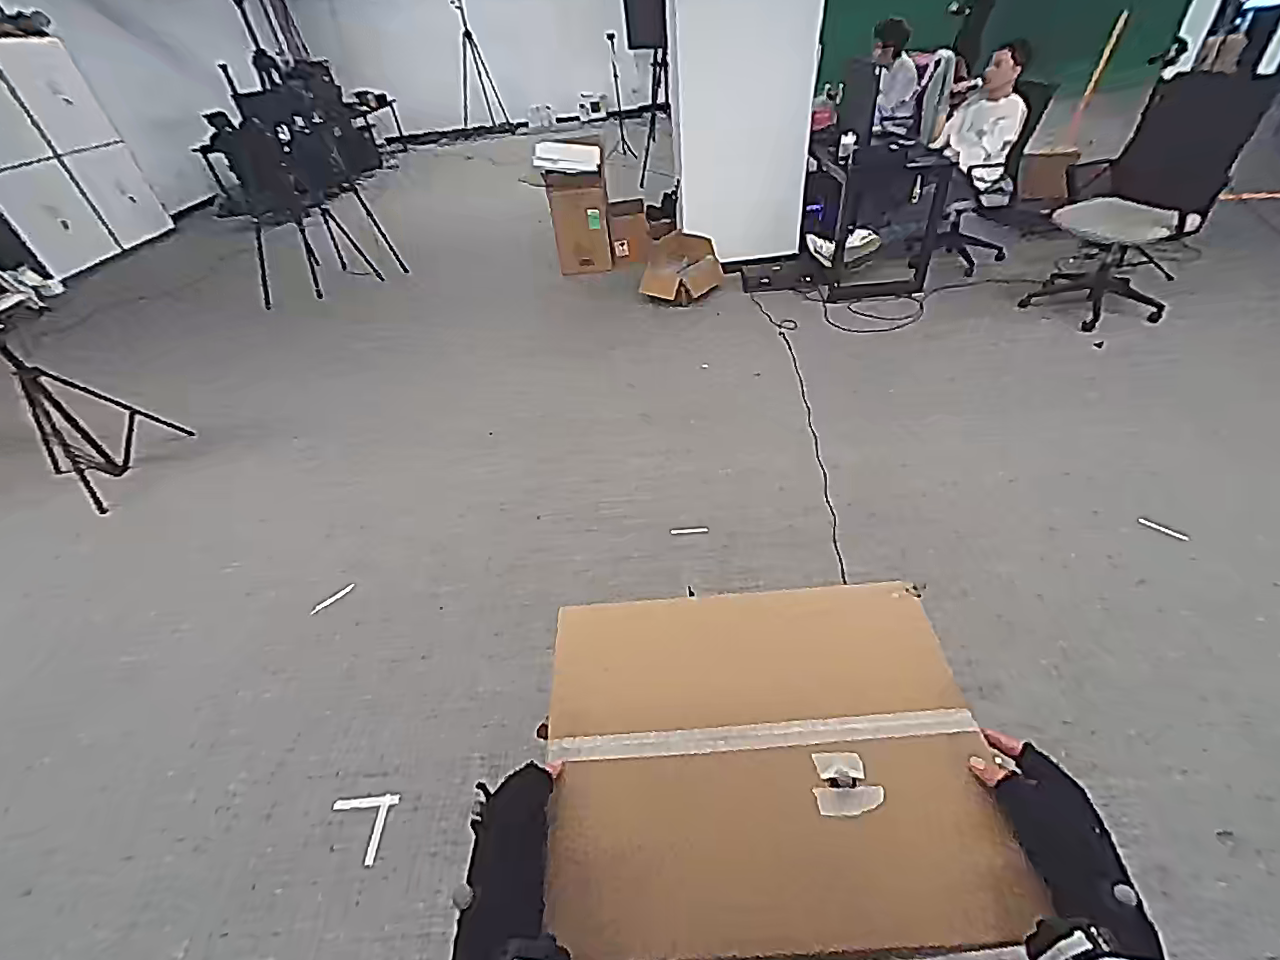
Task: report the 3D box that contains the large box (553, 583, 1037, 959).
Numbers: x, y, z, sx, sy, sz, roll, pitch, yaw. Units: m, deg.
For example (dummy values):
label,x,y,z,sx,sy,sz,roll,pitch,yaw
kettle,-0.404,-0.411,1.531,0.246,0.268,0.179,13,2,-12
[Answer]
label,x,y,z,sx,sy,sz,roll,pitch,yaw
large box,0.127,0.352,0.645,0.408,0.320,0.320,-5,47,1
